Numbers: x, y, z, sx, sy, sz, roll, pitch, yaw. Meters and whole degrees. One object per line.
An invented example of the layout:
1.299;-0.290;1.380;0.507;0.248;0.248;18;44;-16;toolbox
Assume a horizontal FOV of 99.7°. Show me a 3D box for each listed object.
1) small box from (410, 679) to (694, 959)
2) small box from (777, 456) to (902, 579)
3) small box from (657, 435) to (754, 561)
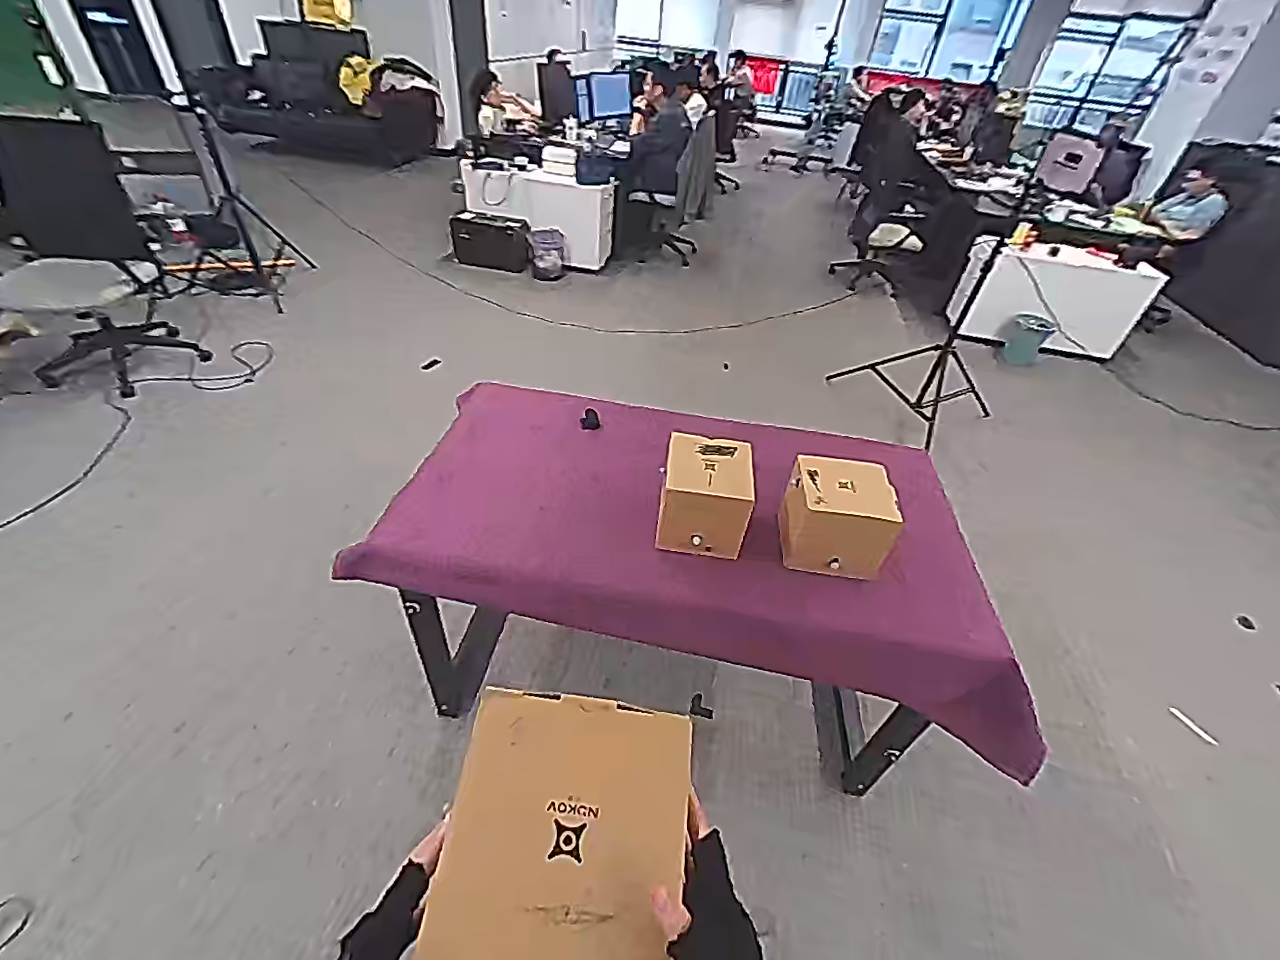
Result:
-0.058;0.280;0.436;0.168;0.176;0.179;9;57;-1;small box
0.387;0.078;1.081;0.179;0.176;0.168;8;40;2;small box
0.127;0.036;1.094;0.168;0.176;0.179;7;41;1;small box
